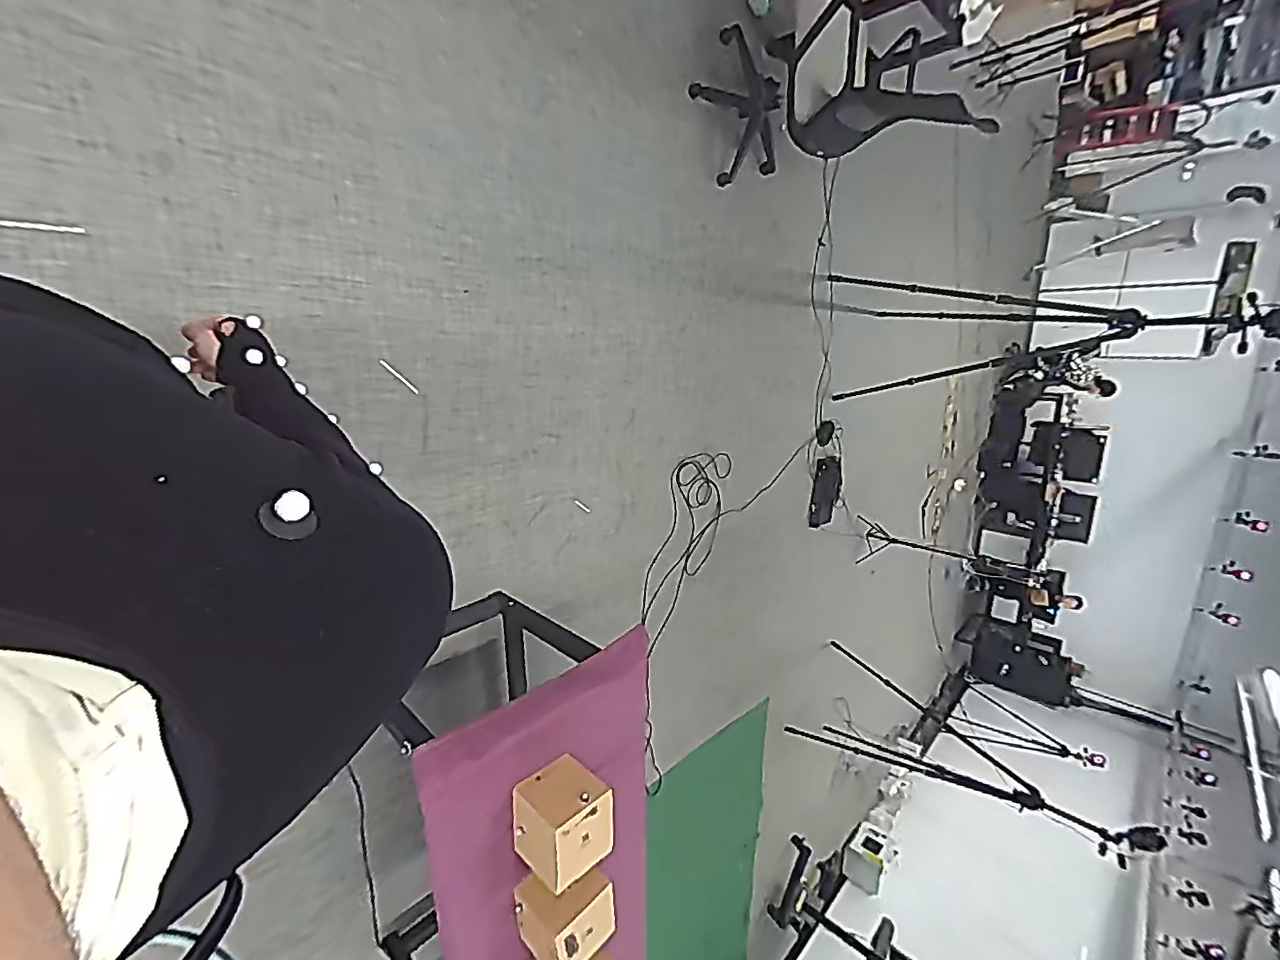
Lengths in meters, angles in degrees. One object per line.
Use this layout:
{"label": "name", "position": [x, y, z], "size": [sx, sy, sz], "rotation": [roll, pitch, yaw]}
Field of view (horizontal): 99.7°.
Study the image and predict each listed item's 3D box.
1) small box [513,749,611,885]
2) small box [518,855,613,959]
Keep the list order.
{"label": "small box", "position": [-0.186, 0.784, 1.279], "size": [0.168, 0.176, 0.179], "rotation": [-12, 110, -45]}
{"label": "small box", "position": [-0.189, 1.043, 1.344], "size": [0.179, 0.176, 0.168], "rotation": [-19, 114, -44]}
